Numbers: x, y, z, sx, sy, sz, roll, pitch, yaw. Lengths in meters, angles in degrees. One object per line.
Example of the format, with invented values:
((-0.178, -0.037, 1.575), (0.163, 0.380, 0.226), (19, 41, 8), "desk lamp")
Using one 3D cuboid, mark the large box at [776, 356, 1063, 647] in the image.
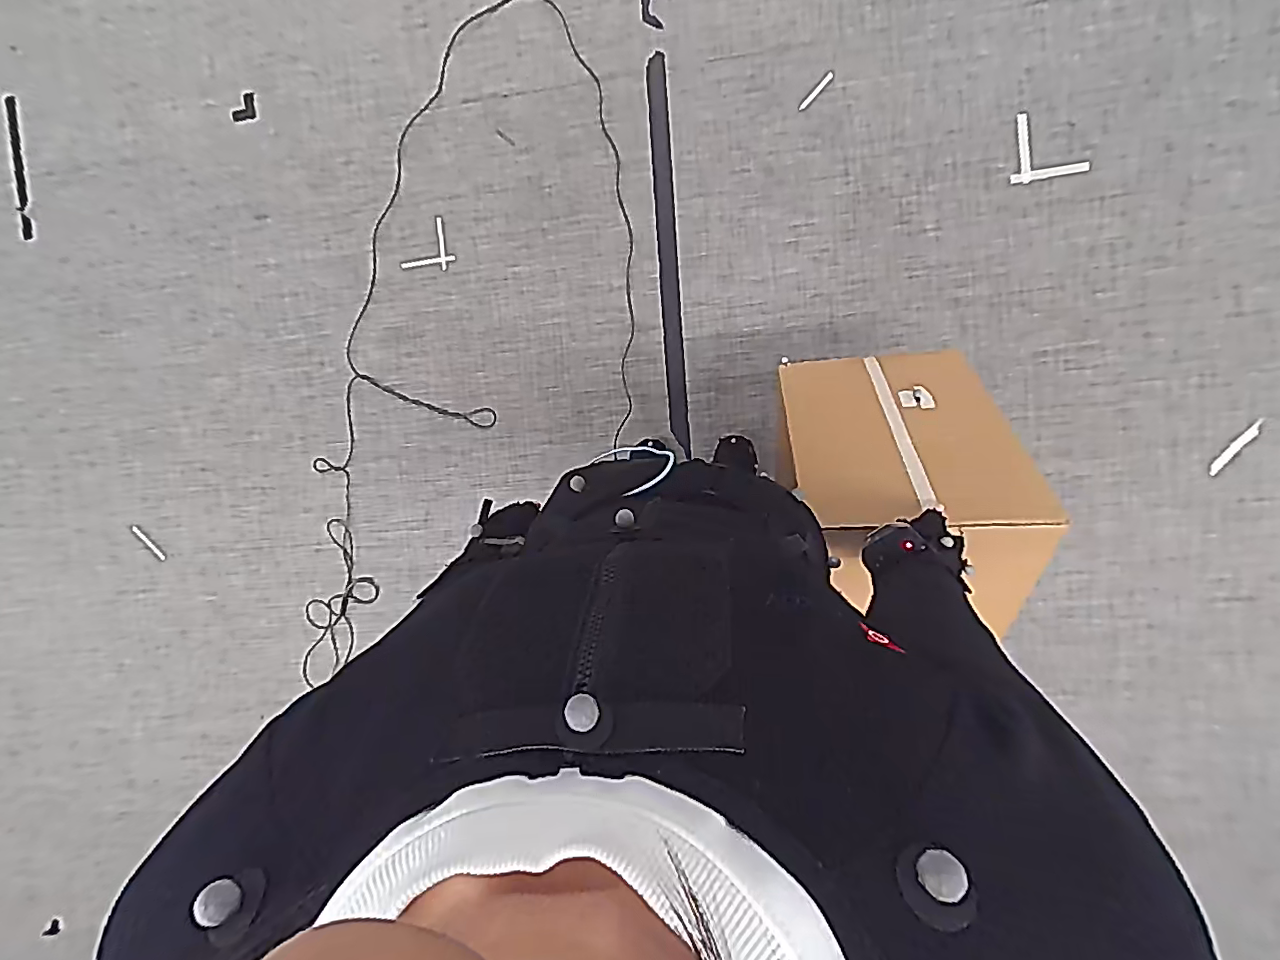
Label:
((0.415, 0.032, 0.935), (0.320, 0.408, 0.320), (-2, 132, 8), "large box")
